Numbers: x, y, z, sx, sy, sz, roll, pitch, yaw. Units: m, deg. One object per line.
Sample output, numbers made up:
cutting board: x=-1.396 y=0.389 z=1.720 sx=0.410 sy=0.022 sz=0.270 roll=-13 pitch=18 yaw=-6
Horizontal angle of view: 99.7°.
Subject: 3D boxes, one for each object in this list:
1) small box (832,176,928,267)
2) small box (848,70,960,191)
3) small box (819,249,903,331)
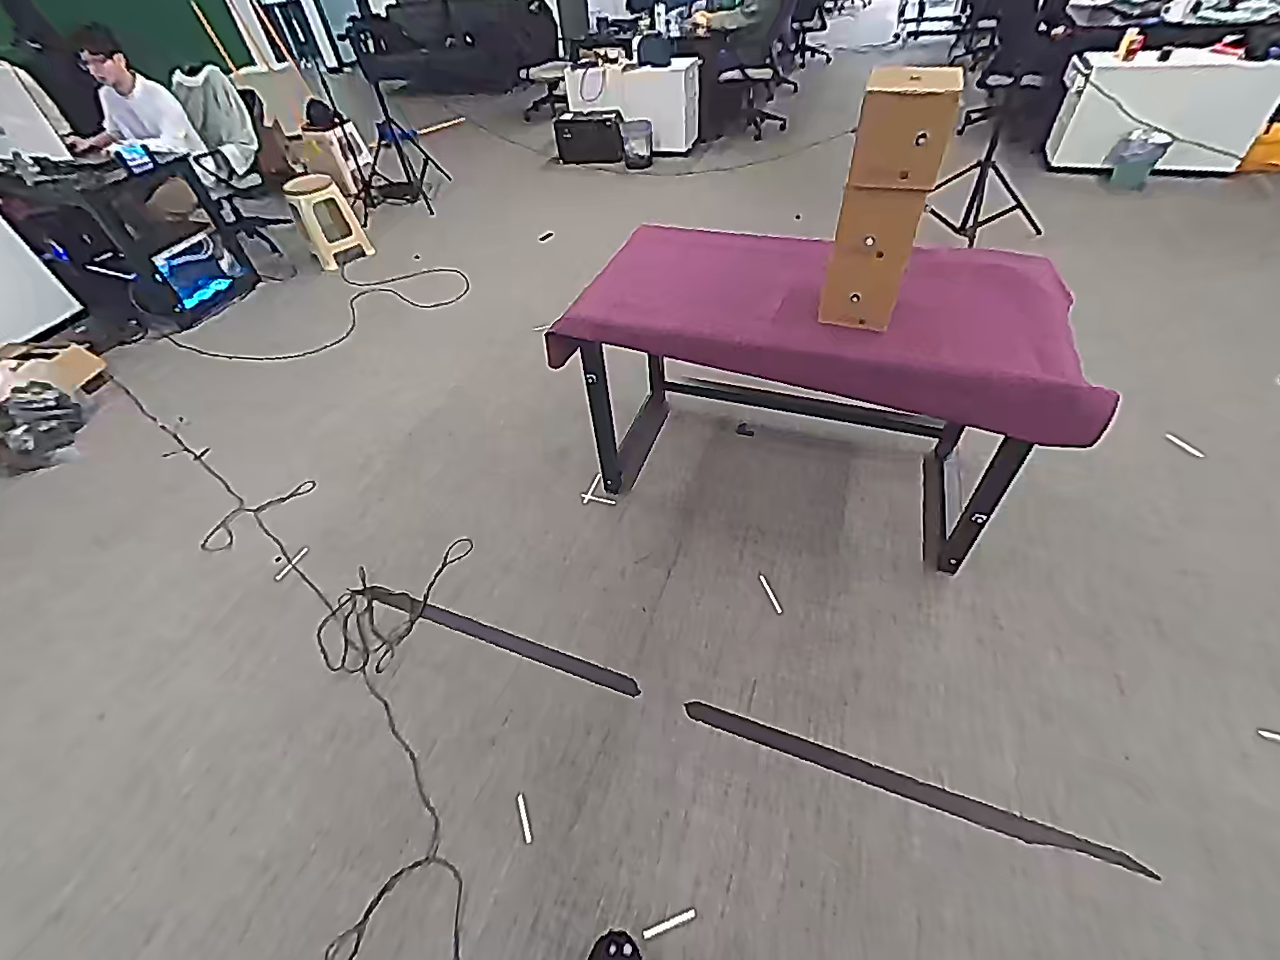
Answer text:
small box: x=0.540 y=-0.603 z=1.215 sx=0.168 sy=0.176 sz=0.179 roll=15 pitch=51 yaw=19
small box: x=0.523 y=-0.698 z=1.083 sx=0.168 sy=0.176 sz=0.179 roll=13 pitch=49 yaw=16
small box: x=0.548 y=-0.489 z=1.333 sx=0.168 sy=0.176 sz=0.179 roll=16 pitch=50 yaw=18
